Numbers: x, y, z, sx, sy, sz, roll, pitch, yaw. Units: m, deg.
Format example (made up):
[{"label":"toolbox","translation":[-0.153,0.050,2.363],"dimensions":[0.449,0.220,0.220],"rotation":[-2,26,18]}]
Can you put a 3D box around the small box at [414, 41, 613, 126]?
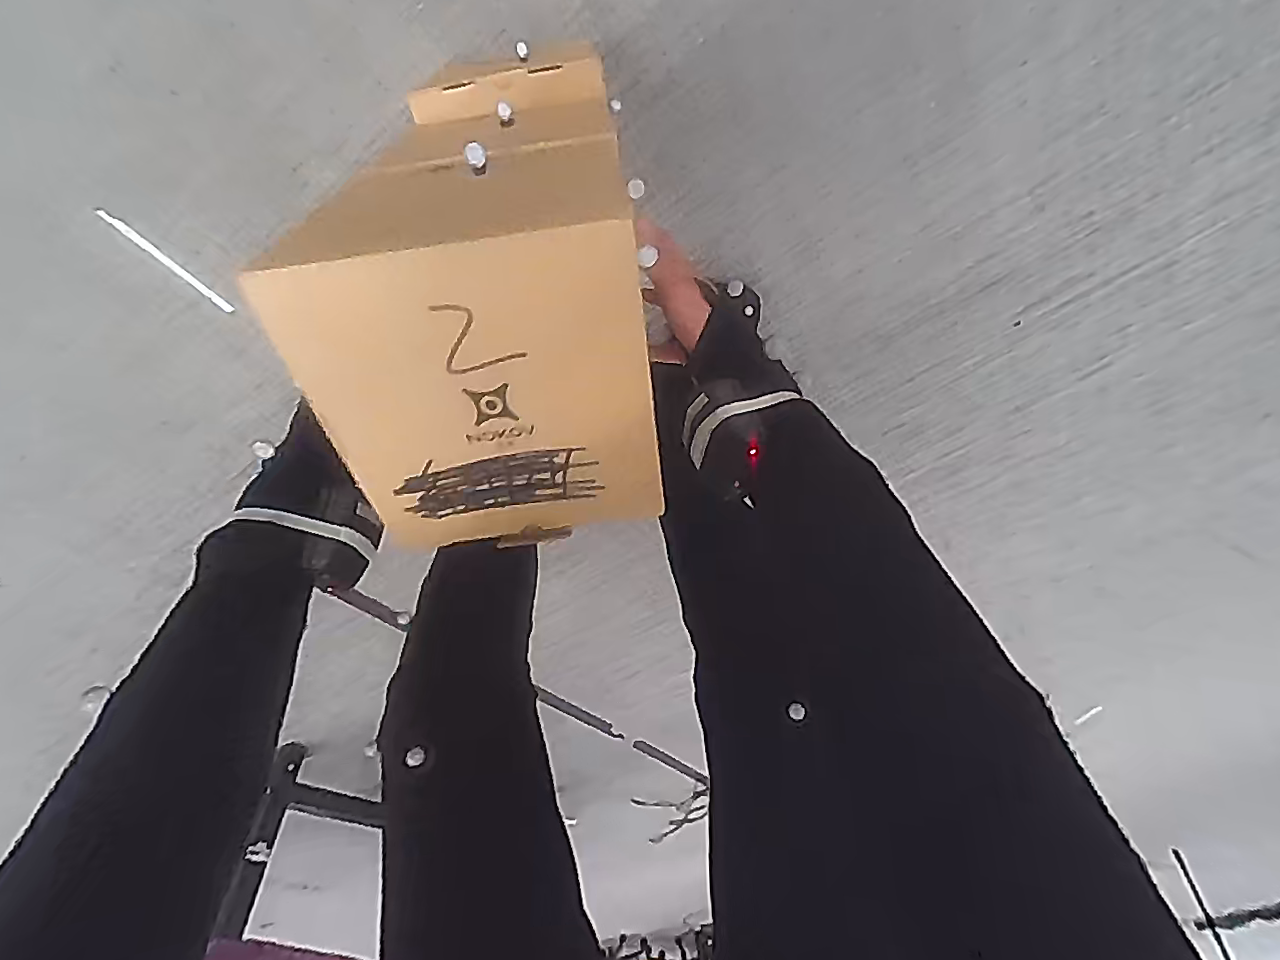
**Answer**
[{"label":"small box","translation":[-0.105,-0.328,0.562],"dimensions":[0.168,0.176,0.179],"rotation":[-10,132,1]}]

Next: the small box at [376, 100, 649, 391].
[{"label":"small box","translation":[-0.088,-0.202,0.455],"dimensions":[0.168,0.176,0.179],"rotation":[-8,133,0]}]
